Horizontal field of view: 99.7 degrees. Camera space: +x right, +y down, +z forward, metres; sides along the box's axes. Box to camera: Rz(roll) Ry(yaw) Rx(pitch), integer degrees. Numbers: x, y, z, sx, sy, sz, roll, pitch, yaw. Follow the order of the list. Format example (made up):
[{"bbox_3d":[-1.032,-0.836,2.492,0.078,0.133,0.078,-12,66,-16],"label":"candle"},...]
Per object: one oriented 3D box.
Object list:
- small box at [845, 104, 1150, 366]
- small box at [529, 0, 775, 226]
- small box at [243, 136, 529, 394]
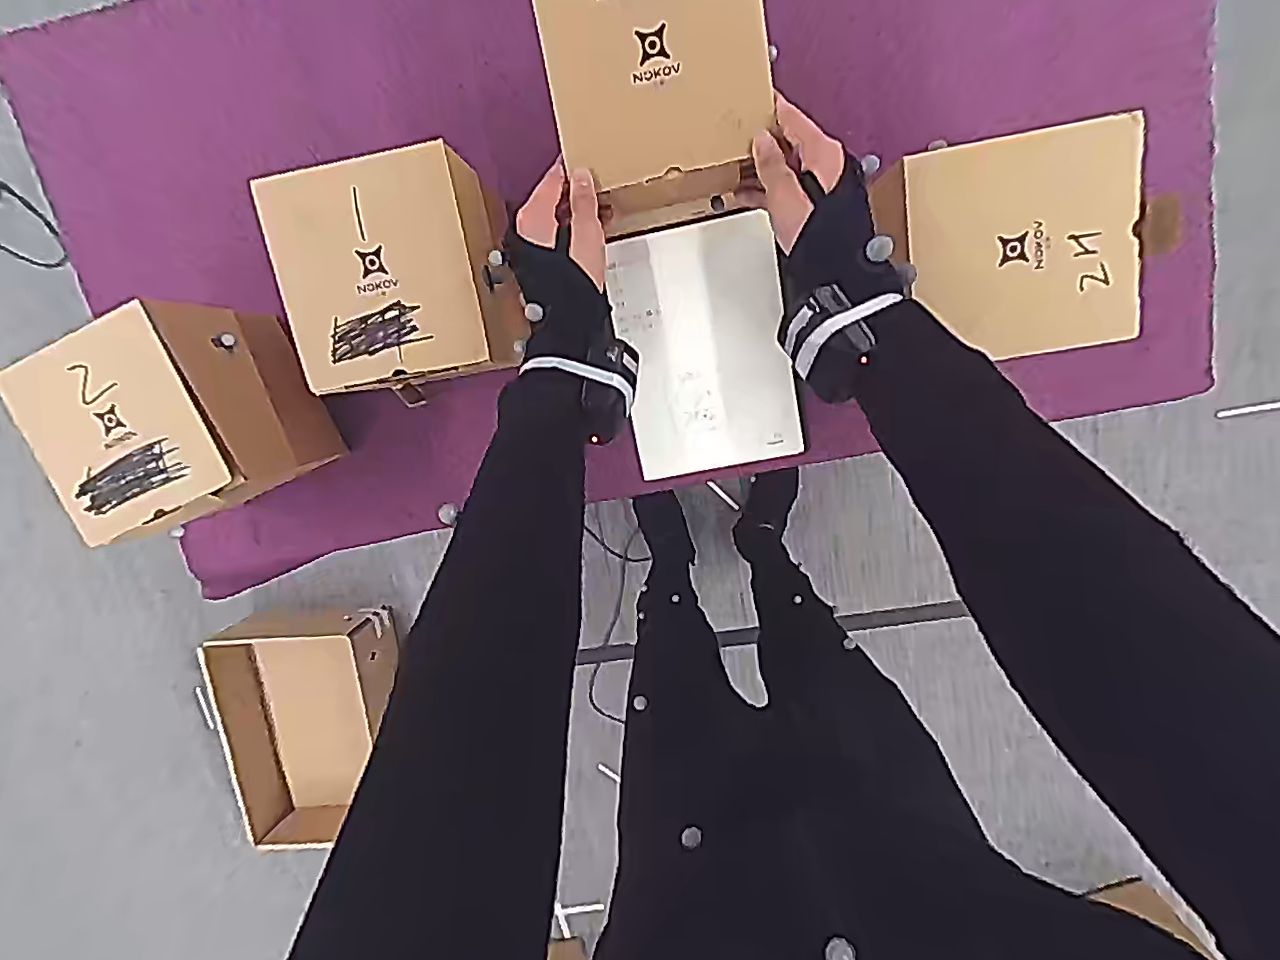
[{"bbox_3d":[0.296,-0.197,0.488,0.179,0.176,0.168,-8,102,5],"label":"small box"},{"bbox_3d":[0.014,-0.335,0.469,0.168,0.176,0.179,-10,103,7],"label":"small box"},{"bbox_3d":[-0.217,-0.186,0.516,0.168,0.176,0.179,-10,101,5],"label":"small box"}]
